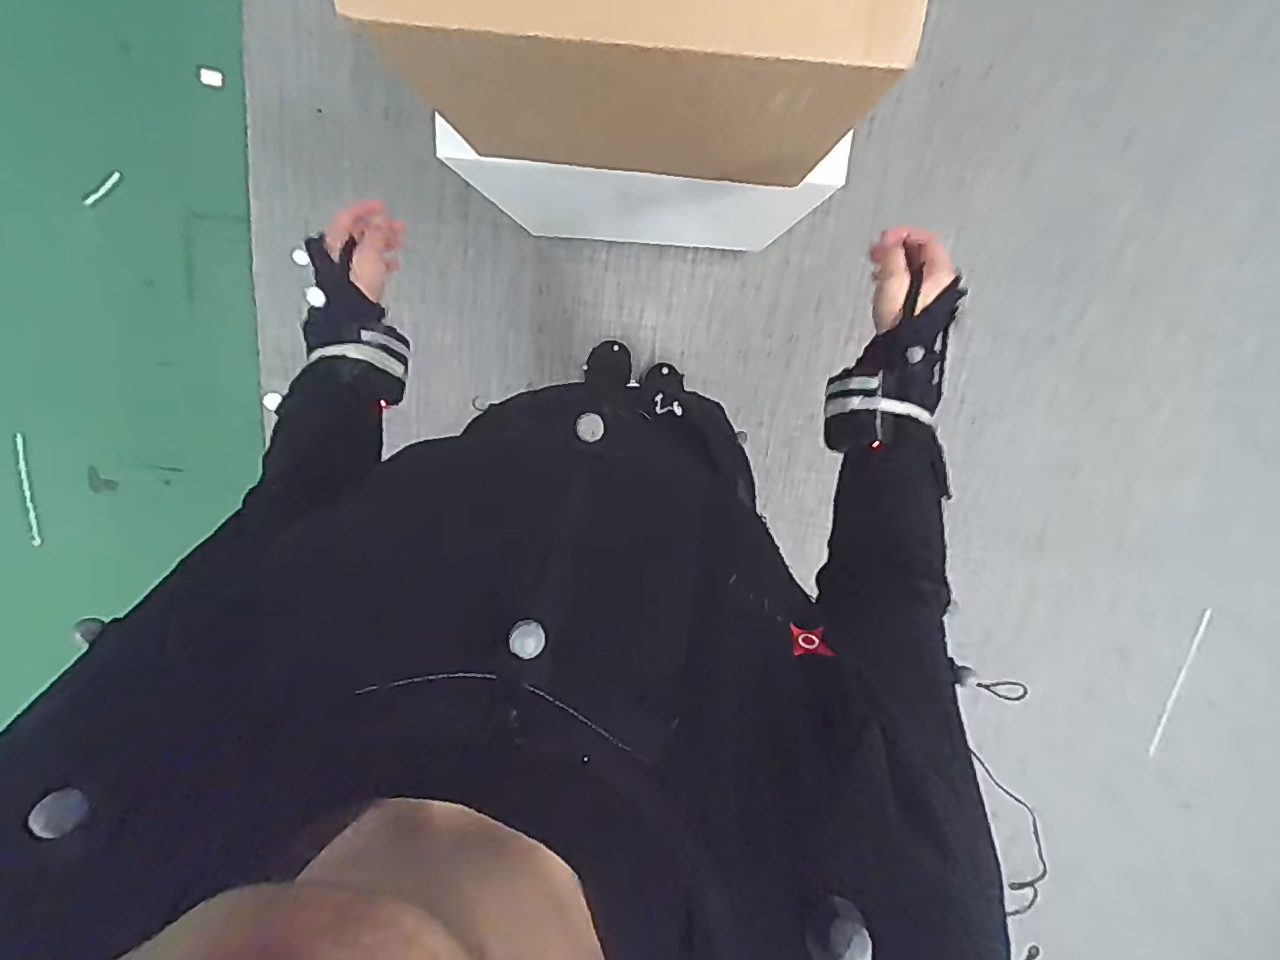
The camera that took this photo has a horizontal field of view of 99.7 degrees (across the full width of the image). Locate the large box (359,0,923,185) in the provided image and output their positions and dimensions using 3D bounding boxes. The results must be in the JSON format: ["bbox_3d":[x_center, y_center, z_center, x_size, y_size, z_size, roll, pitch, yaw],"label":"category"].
[{"bbox_3d":[0.008,-0.491,0.493,0.408,0.320,0.320,5,105,-1],"label":"large box"}]
